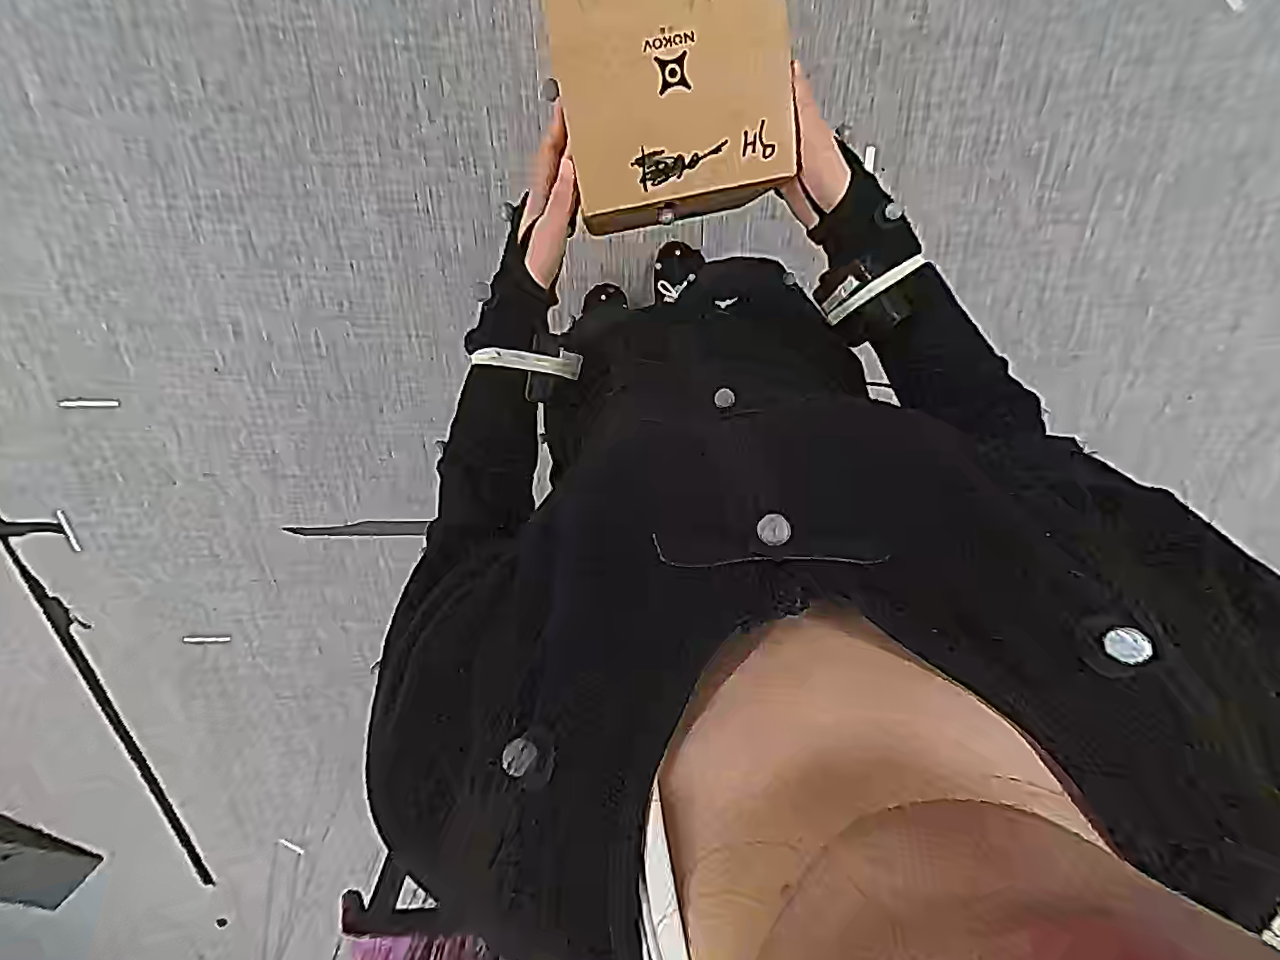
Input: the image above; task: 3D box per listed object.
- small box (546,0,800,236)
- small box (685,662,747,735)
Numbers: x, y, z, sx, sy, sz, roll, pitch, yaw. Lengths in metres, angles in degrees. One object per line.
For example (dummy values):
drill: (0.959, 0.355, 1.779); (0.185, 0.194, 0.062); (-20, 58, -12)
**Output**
small box: (0.019, -0.318, 0.449); (0.168, 0.176, 0.179); (-11, 110, 0)
small box: (0.253, 0.740, 1.837); (0.179, 0.176, 0.168); (2, 114, -1)
